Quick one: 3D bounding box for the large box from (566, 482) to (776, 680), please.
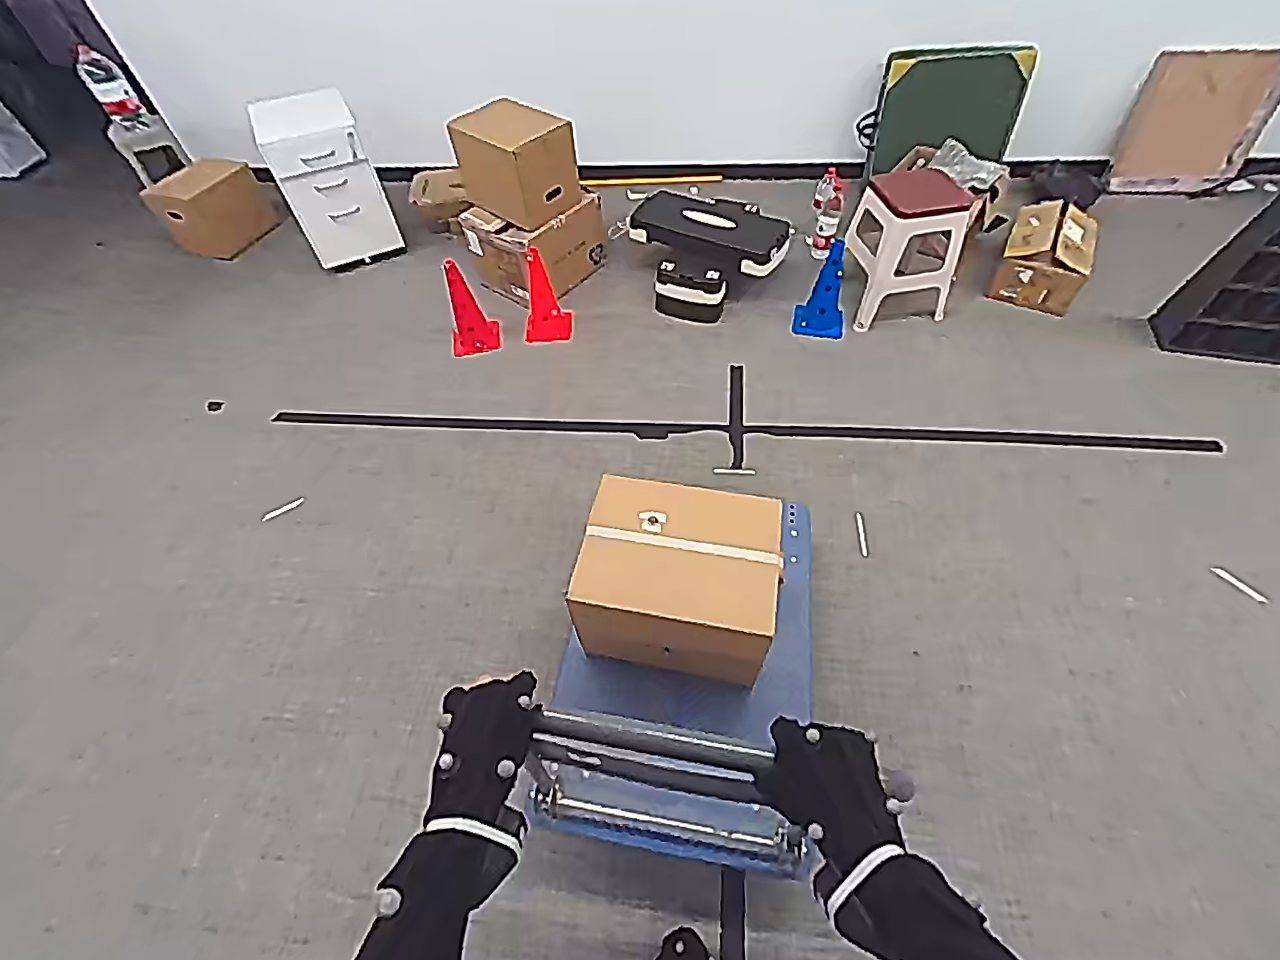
[{"bbox_3d":[0.085,0.236,1.244,0.408,0.320,0.320,8,54,10],"label":"large box"}]
